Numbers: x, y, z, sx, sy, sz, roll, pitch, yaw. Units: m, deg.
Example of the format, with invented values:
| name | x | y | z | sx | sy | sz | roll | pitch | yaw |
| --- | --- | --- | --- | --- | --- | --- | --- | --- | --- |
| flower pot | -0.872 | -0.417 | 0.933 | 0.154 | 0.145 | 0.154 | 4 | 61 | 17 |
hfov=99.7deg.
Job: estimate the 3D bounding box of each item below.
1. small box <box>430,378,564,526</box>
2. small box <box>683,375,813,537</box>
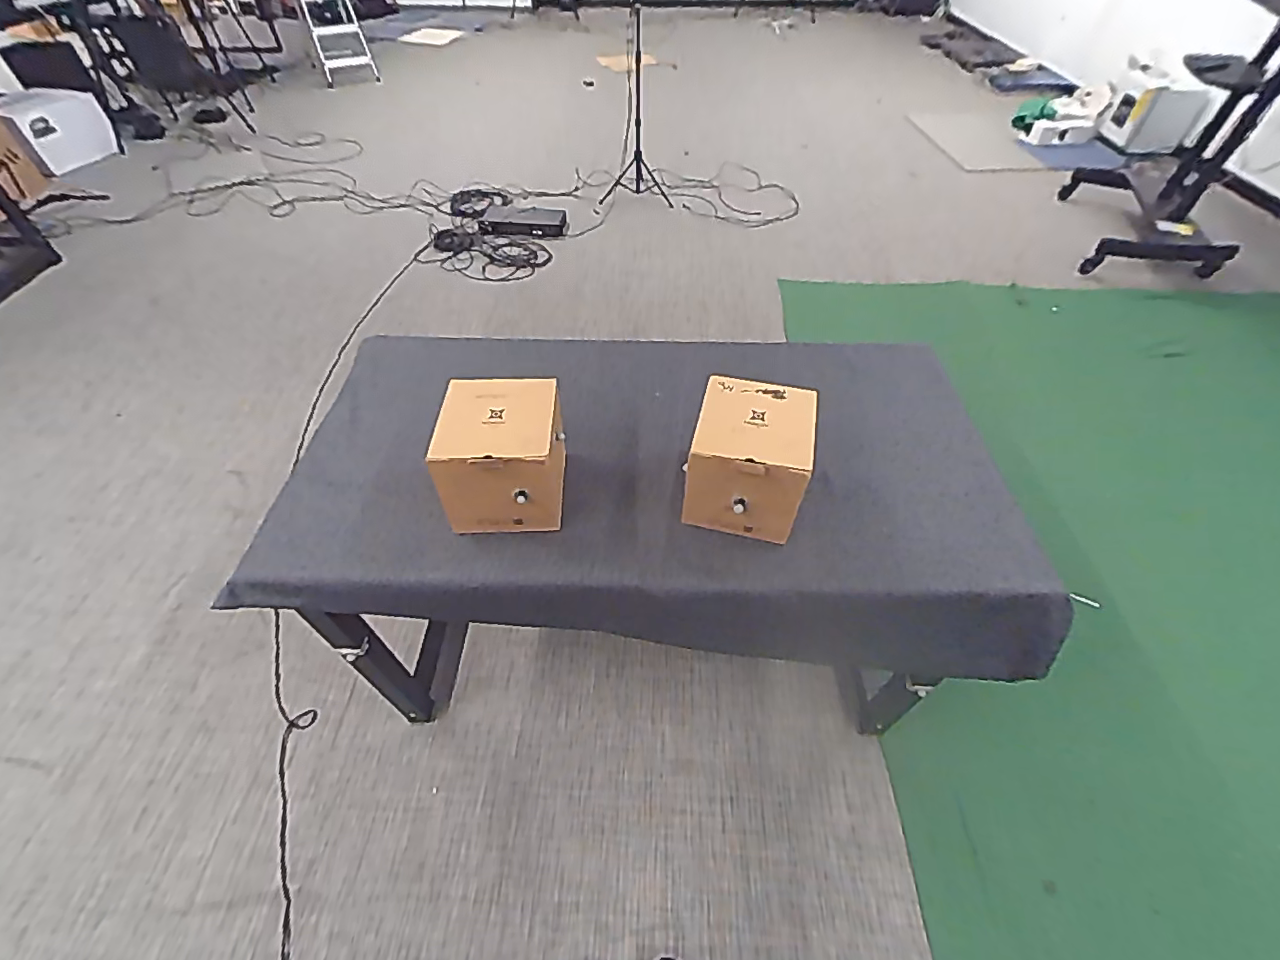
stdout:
| name | x | y | z | sx | sy | sz | roll | pitch | yaw |
| --- | --- | --- | --- | --- | --- | --- | --- | --- | --- |
| small box | -0.210 | -0.040 | 0.849 | 0.168 | 0.176 | 0.179 | -1 | 47 | -3 |
| small box | 0.164 | -0.034 | 0.848 | 0.168 | 0.176 | 0.179 | 11 | 50 | 9 |
